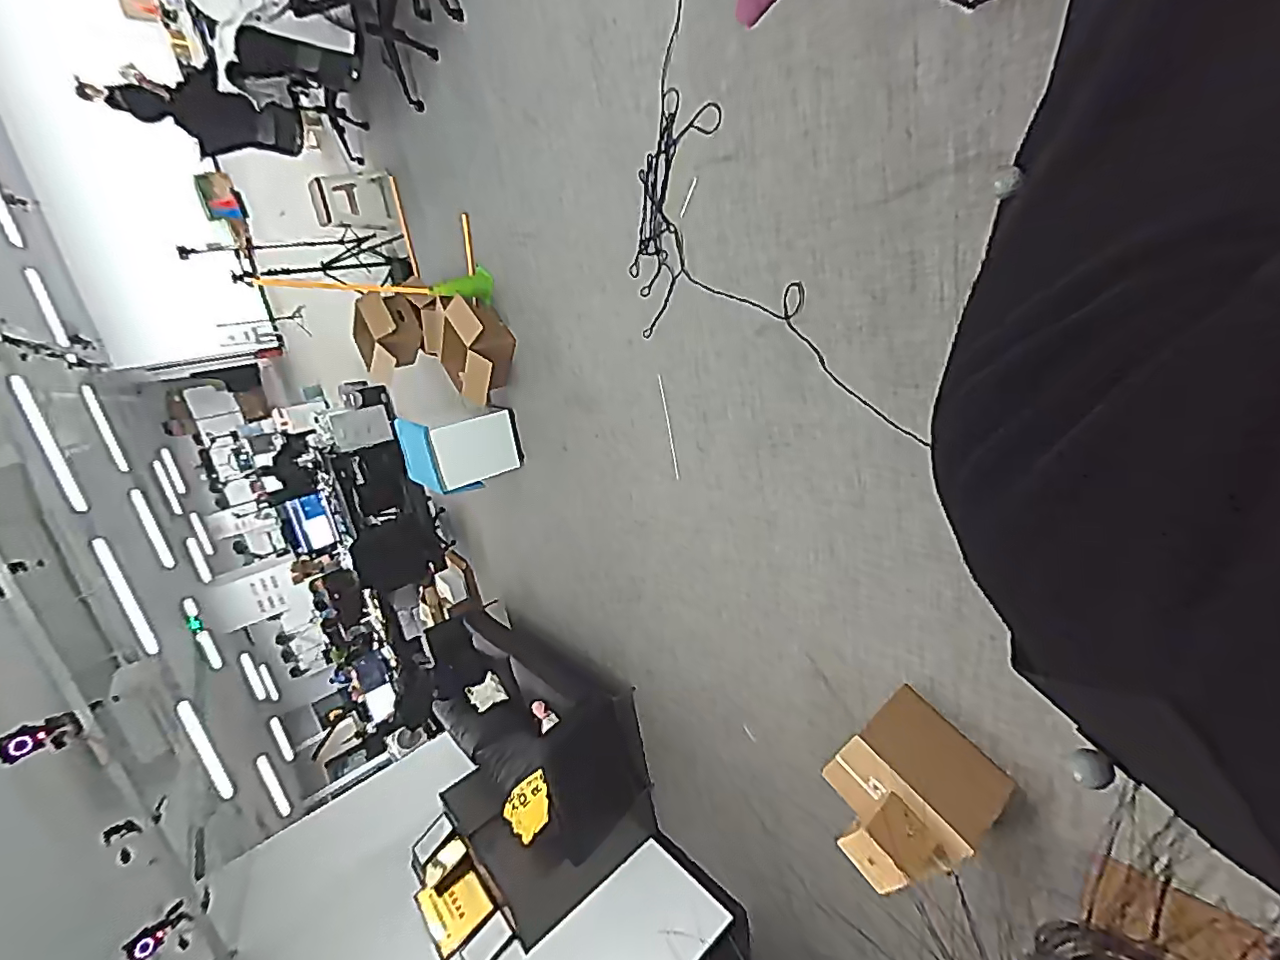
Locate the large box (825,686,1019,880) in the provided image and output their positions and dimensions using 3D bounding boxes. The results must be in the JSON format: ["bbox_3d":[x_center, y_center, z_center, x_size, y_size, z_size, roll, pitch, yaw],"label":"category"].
[{"bbox_3d":[0.907,0.975,1.771,0.408,0.320,0.320,44,139,32],"label":"large box"}]

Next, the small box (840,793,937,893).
[{"bbox_3d":[0.745,1.083,1.617,0.168,0.176,0.179,46,141,29],"label":"small box"}]
